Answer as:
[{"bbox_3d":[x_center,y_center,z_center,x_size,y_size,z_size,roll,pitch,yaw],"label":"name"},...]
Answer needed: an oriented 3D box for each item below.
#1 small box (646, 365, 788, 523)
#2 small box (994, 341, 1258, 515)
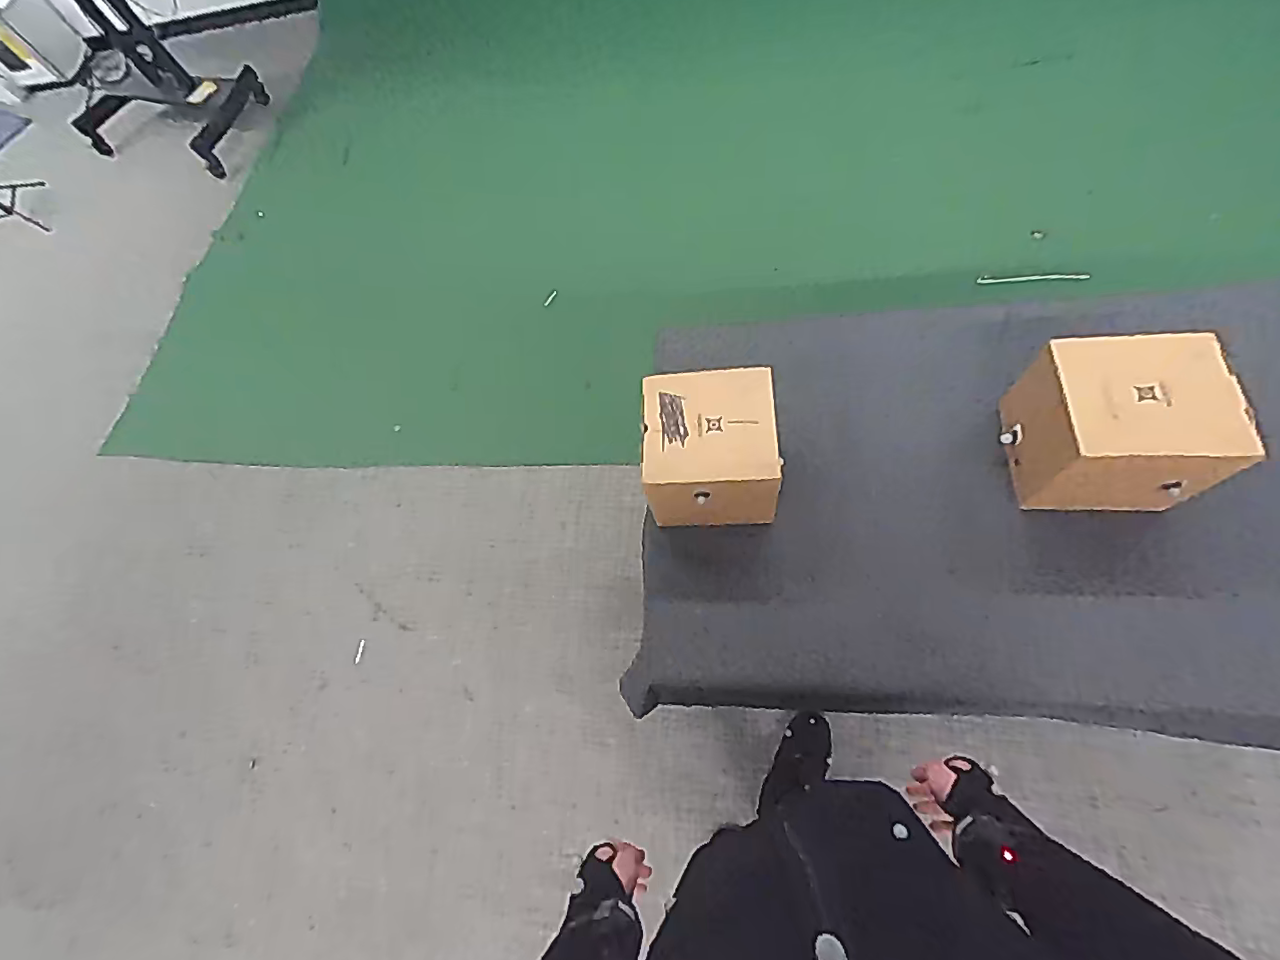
[{"bbox_3d":[0.105,-0.043,0.764,0.179,0.176,0.168,-1,65,6],"label":"small box"},{"bbox_3d":[0.605,-0.060,0.704,0.179,0.176,0.168,0,64,9],"label":"small box"}]
